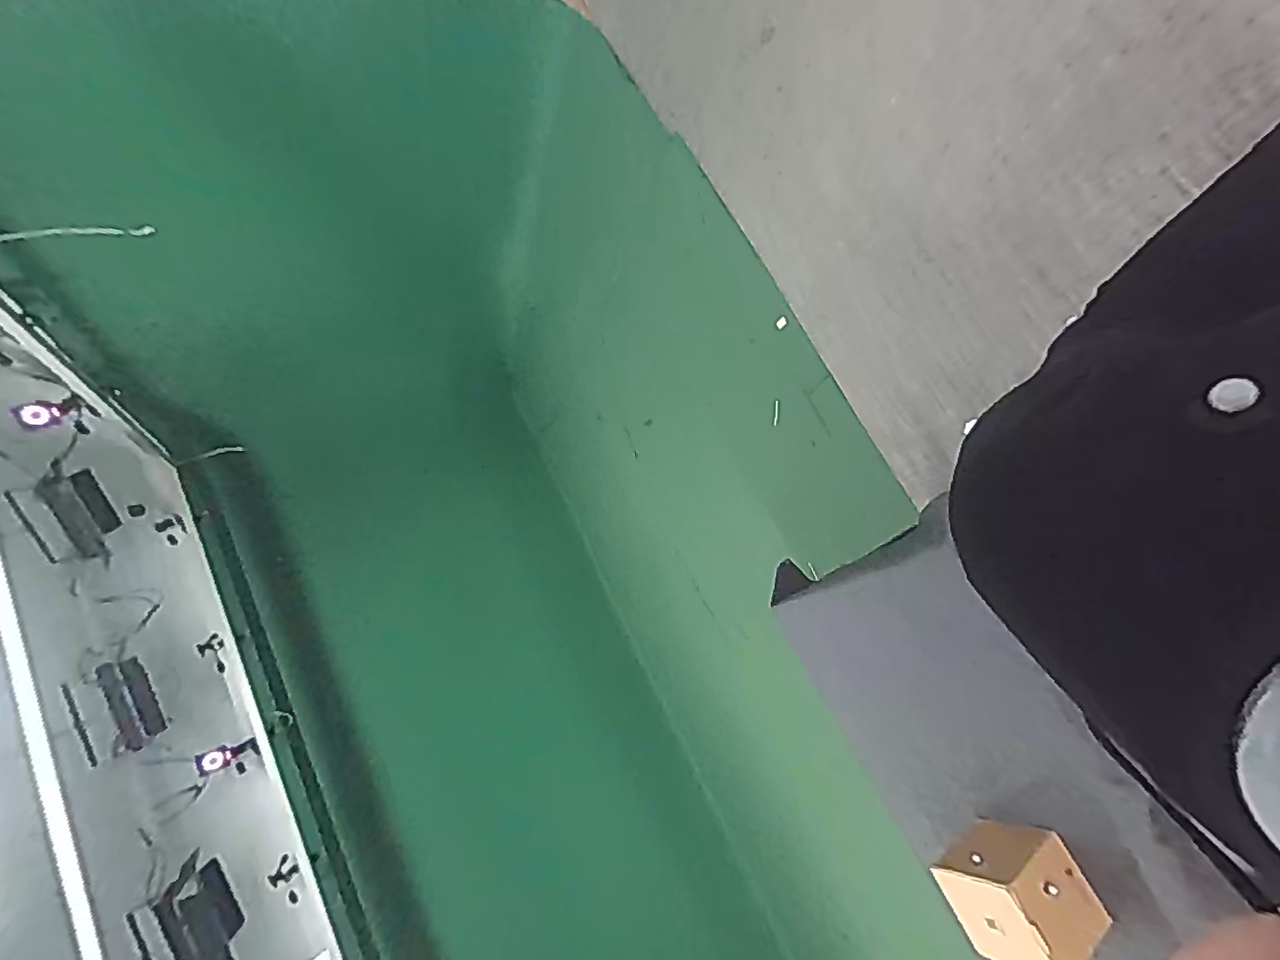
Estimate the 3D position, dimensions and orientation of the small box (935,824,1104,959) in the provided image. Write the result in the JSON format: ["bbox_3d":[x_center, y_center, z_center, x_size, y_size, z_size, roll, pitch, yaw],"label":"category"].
[{"bbox_3d":[0.708,0.775,1.004,0.168,0.176,0.179,63,153,14],"label":"small box"}]
